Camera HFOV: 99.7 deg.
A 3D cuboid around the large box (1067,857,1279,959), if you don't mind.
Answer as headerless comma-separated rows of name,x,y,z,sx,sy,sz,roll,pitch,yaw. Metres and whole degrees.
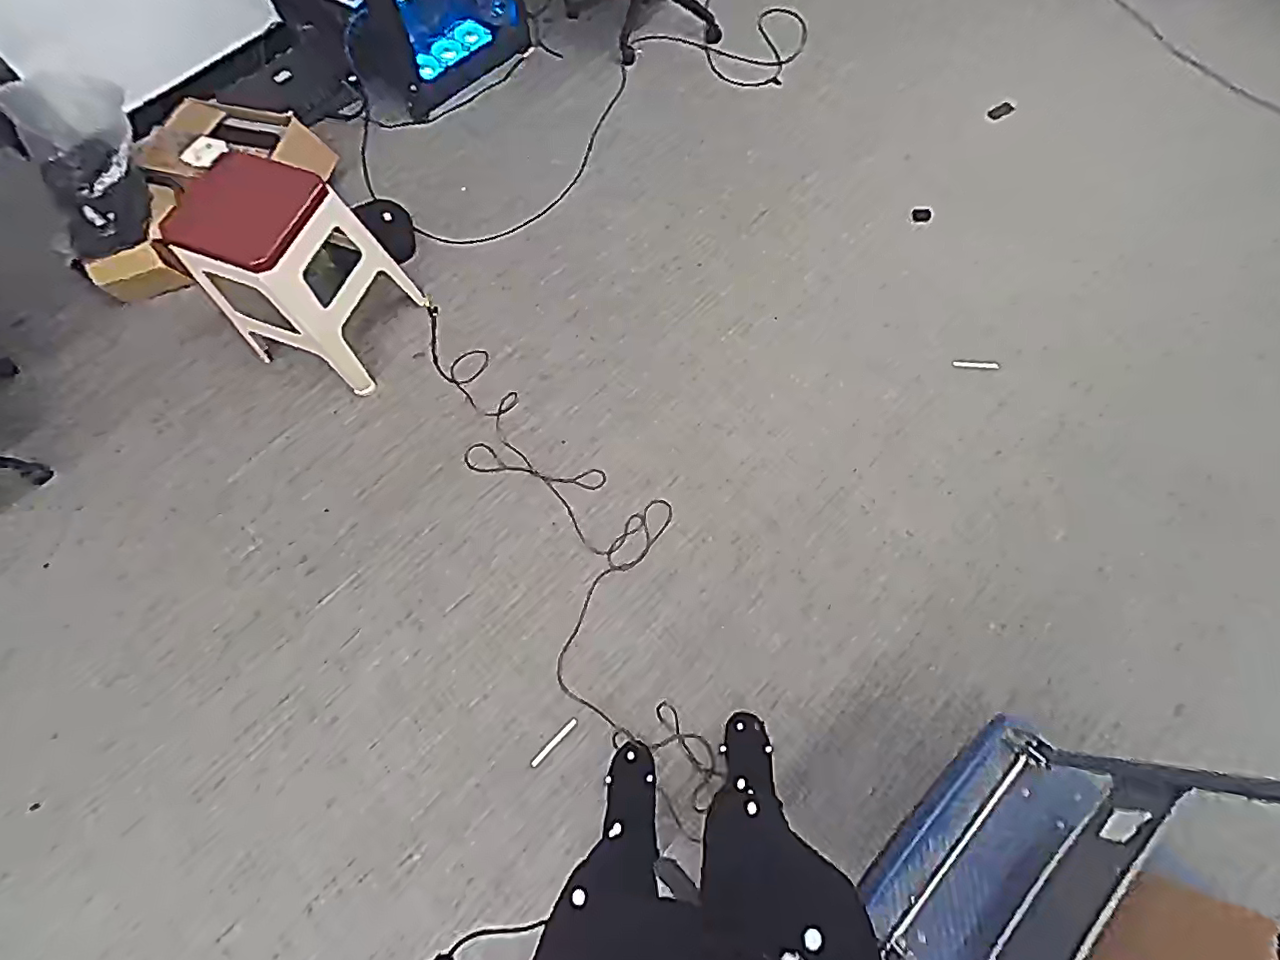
large box,0.922,0.920,0.842,0.320,0.320,0.408,37,75,13
